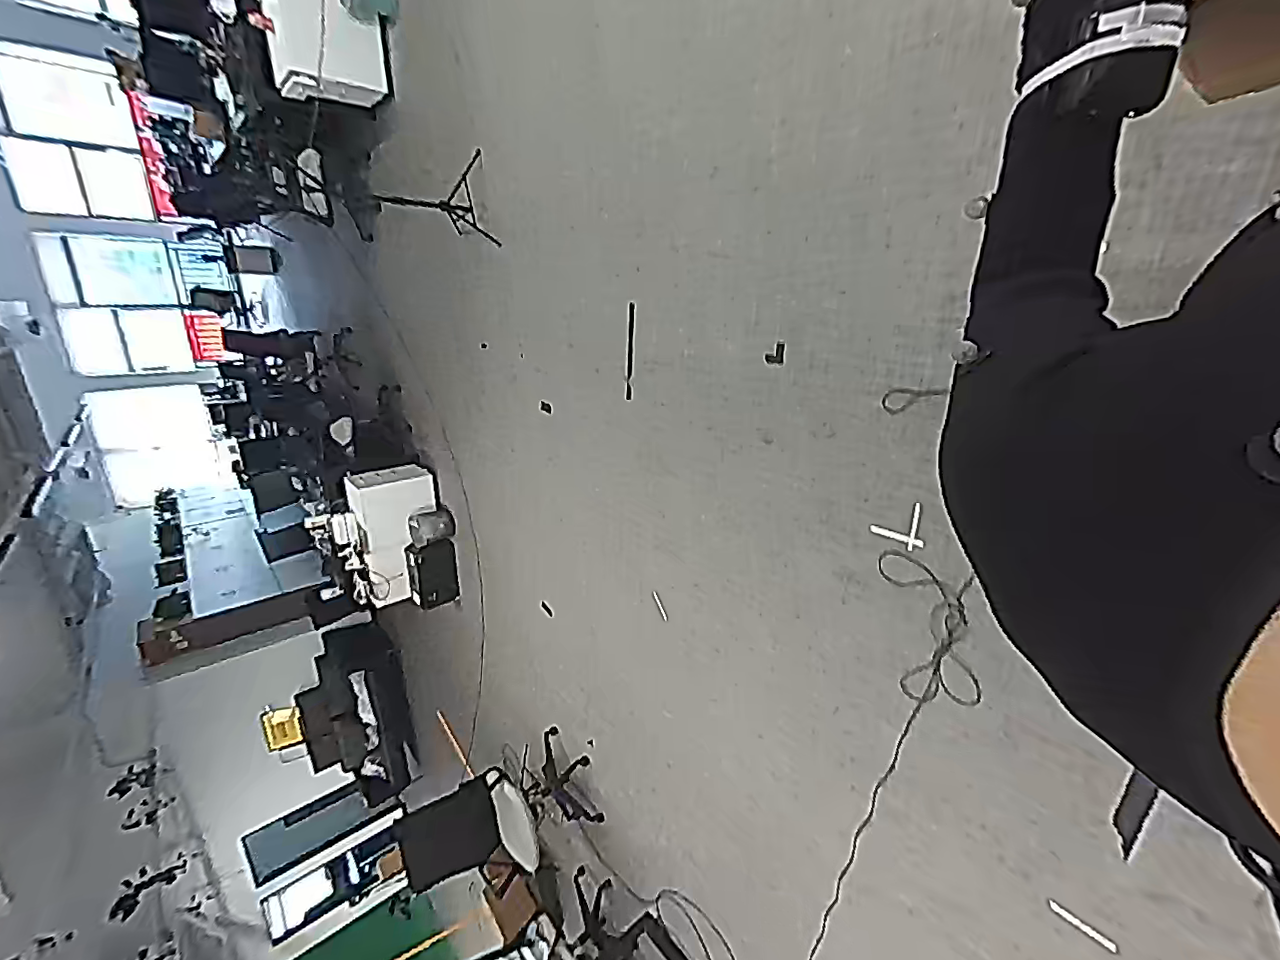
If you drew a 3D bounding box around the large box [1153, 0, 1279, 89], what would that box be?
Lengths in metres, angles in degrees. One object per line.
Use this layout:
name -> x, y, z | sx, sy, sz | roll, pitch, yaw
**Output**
large box -> 0.561, -0.480, 0.270 | 0.408, 0.320, 0.320 | 10, 112, 50
